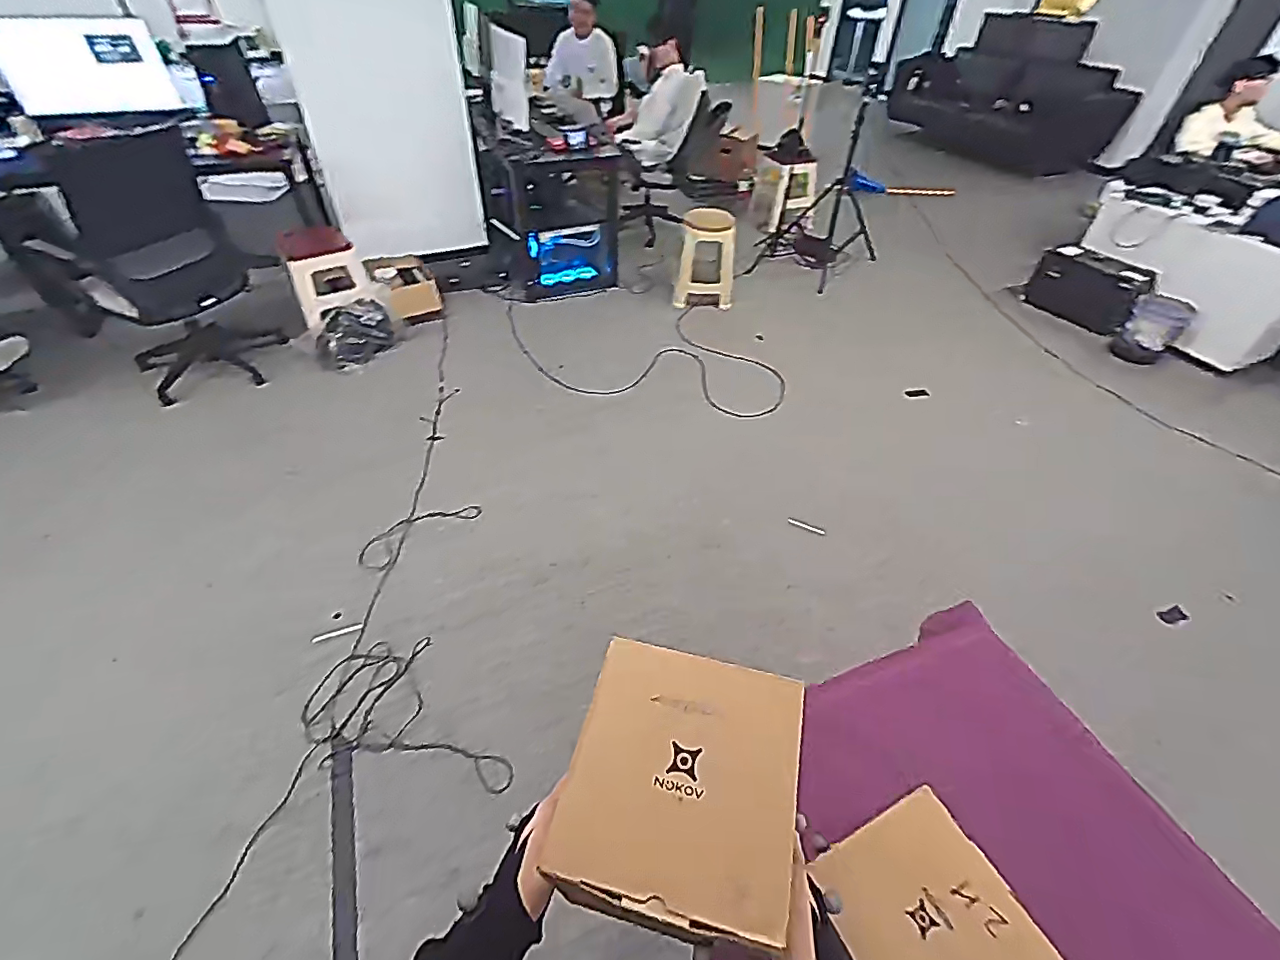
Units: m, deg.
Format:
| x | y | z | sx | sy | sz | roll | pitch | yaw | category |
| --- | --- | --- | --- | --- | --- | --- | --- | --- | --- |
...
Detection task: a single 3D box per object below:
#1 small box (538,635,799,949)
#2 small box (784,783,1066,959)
| x | y | z | sx | sy | sz | roll | pitch | yaw | category |
| --- | --- | --- | --- | --- | --- | --- | --- | --- | --- |
| 0.032 | 0.263 | 0.458 | 0.168 | 0.176 | 0.179 | 10 | 47 | 10 | small box |
| 0.269 | 0.459 | 0.561 | 0.179 | 0.176 | 0.168 | -18 | 49 | -20 | small box |
